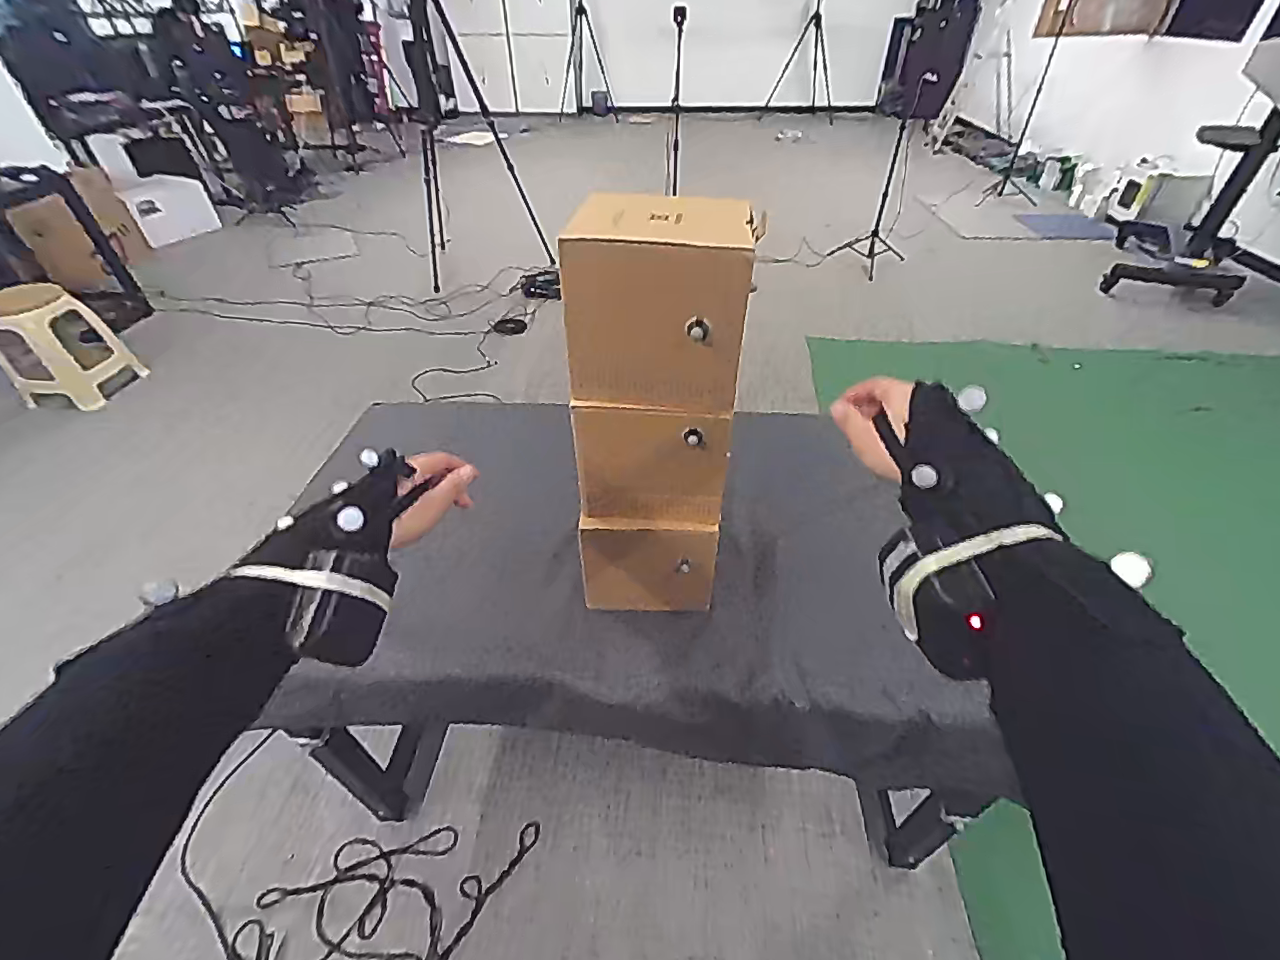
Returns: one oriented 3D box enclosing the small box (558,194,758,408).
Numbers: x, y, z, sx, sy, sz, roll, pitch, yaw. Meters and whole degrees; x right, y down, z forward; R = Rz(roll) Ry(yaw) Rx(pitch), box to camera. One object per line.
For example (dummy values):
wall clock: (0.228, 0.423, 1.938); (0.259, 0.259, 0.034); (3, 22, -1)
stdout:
small box: (0.023, -0.190, 0.577); (0.179, 0.176, 0.168); (4, 40, 5)

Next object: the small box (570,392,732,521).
small box: (0.017, -0.064, 0.680); (0.179, 0.176, 0.168); (3, 41, 3)
